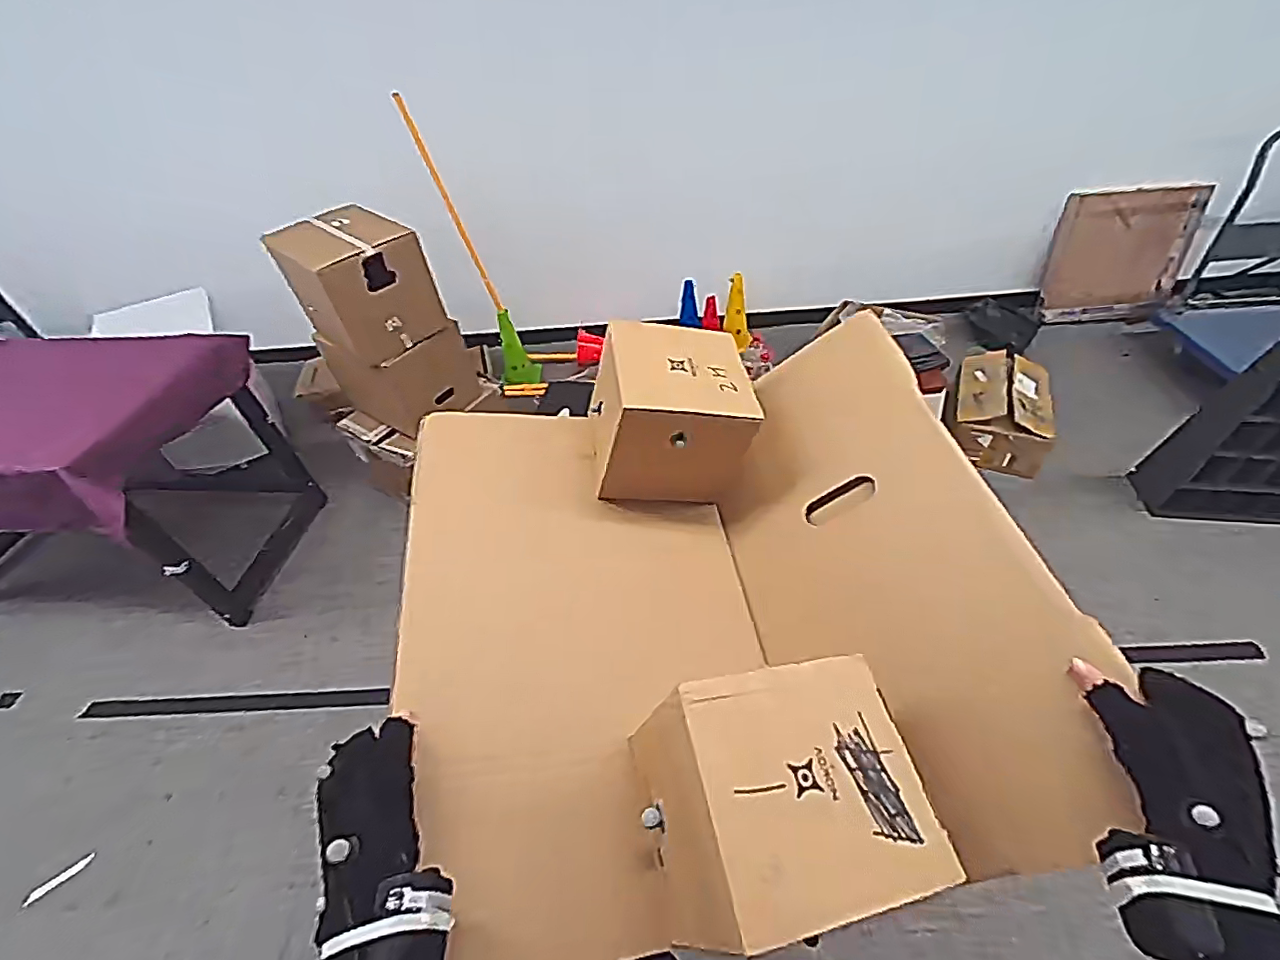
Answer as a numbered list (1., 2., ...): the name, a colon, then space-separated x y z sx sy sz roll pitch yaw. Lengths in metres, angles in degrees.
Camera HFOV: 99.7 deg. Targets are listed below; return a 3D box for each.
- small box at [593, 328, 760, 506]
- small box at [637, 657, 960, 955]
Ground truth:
1. small box: 0.034 -0.079 0.728 0.179 0.176 0.168 3 51 -15
2. small box: 0.111 0.269 0.459 0.179 0.176 0.168 -3 53 -18
